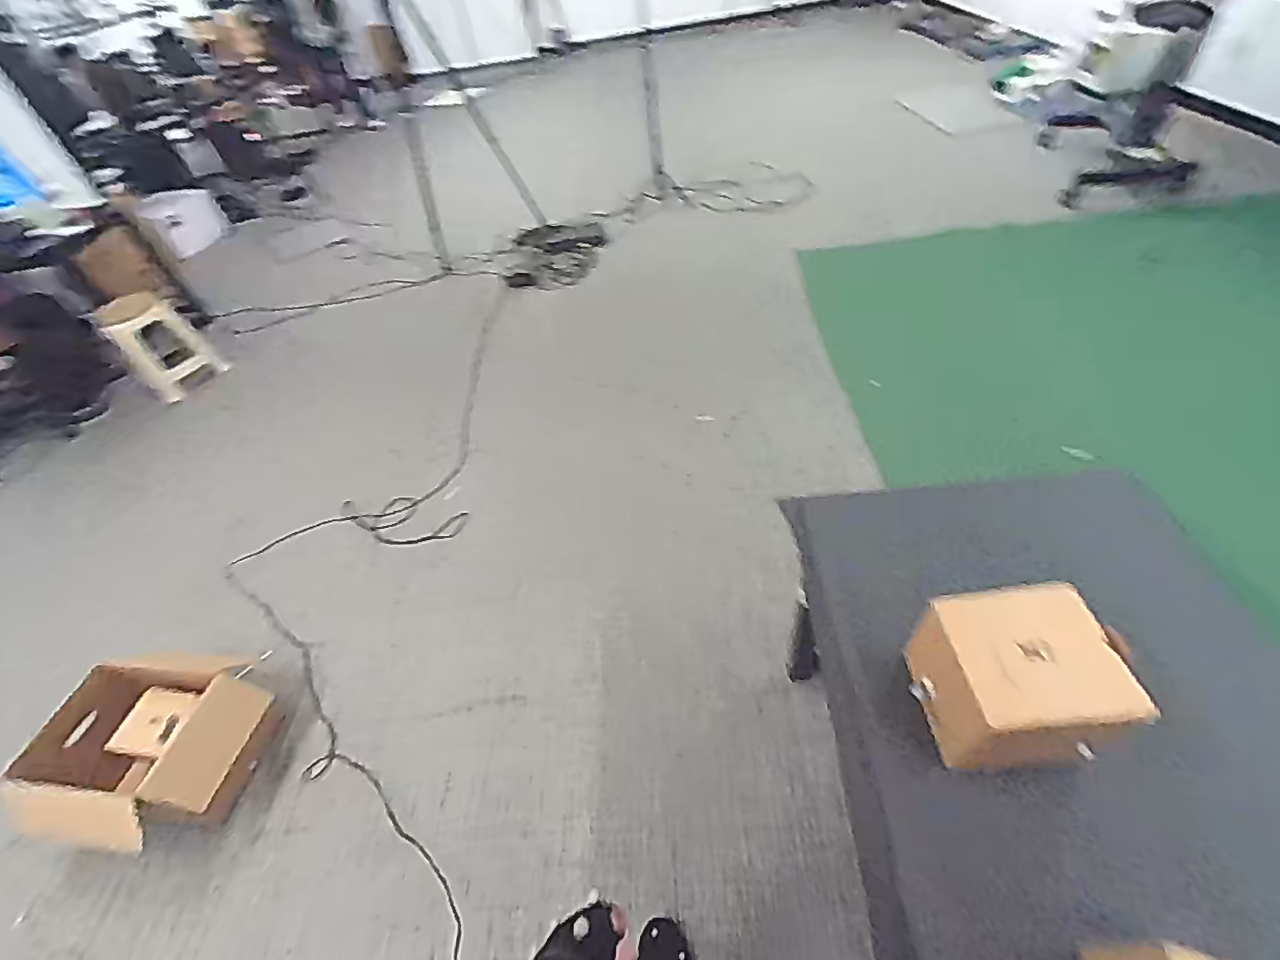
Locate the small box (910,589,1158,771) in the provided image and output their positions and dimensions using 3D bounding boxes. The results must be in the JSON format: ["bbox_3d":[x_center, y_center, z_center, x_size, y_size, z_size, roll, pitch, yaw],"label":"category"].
[{"bbox_3d":[0.480,0.261,0.697,0.179,0.176,0.168,-7,46,5],"label":"small box"}]
